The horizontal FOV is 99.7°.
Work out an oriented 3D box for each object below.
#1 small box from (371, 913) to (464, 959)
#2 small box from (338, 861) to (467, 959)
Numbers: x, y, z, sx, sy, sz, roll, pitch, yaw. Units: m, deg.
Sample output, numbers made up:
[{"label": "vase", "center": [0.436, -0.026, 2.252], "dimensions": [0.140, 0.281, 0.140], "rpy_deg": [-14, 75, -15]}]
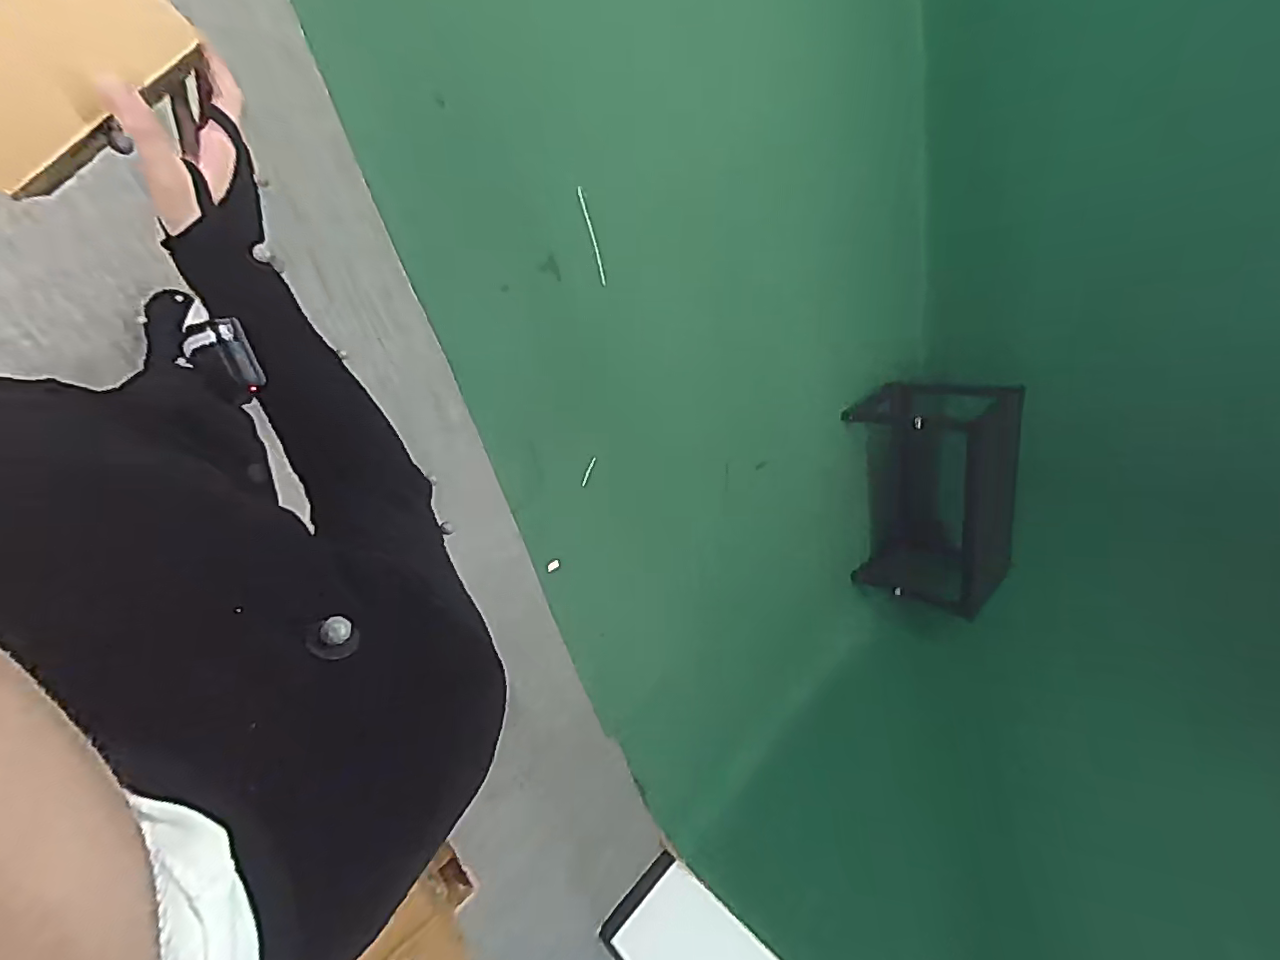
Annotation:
[{"label": "small box", "center": [-0.402, 0.972, 1.005], "dimensions": [0.168, 0.176, 0.179], "rpy_deg": [-28, 117, -33]}, {"label": "small box", "center": [-0.503, 0.955, 1.137], "dimensions": [0.168, 0.176, 0.179], "rpy_deg": [-35, 121, -28]}]
